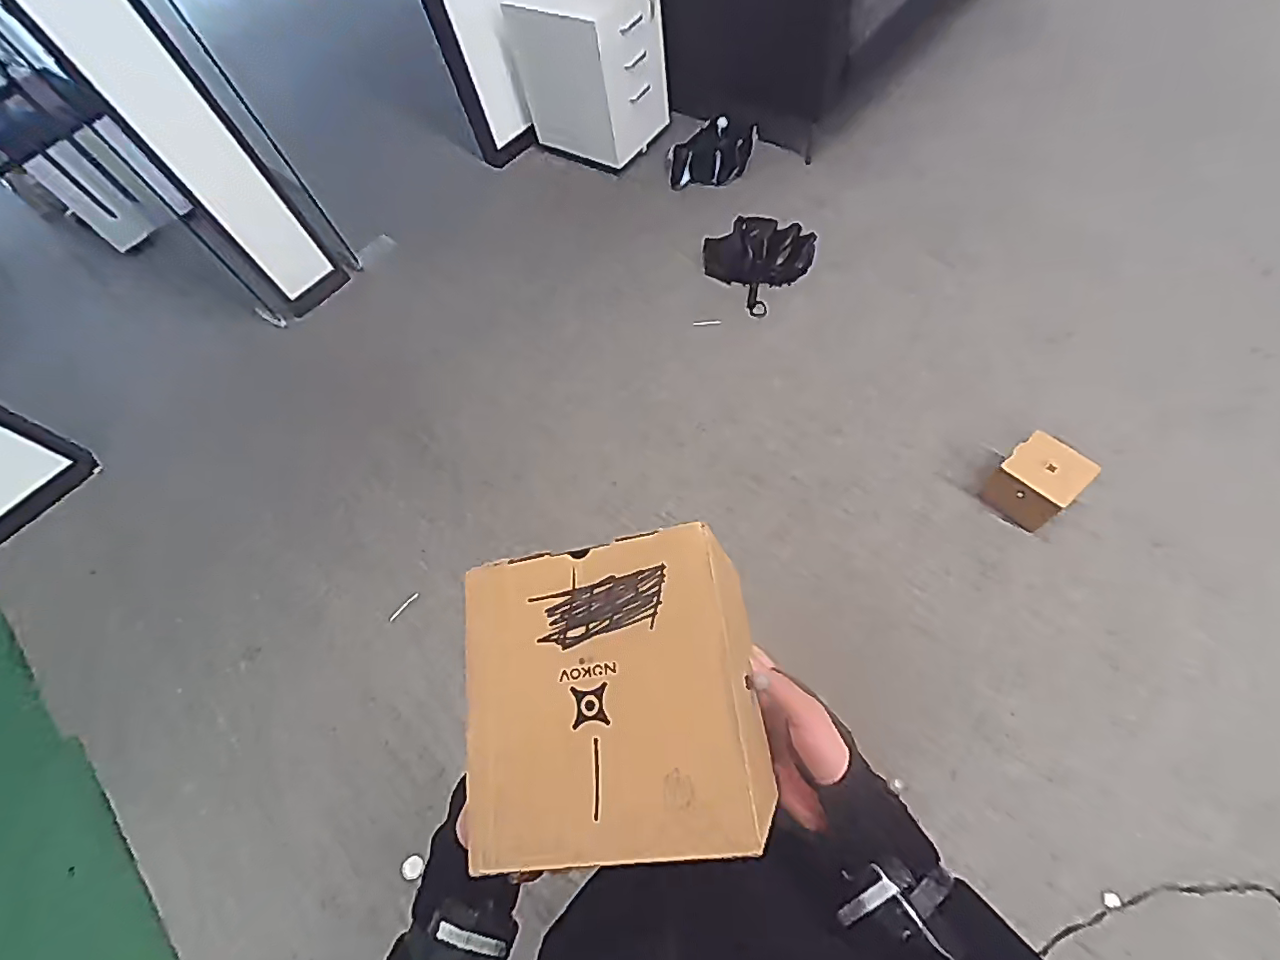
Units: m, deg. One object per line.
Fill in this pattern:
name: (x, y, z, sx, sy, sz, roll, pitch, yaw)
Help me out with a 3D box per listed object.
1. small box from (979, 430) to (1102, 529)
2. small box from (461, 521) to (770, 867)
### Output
small box: (1.068, 0.004, 1.461, 0.168, 0.176, 0.179, -40, 64, -11)
small box: (-0.008, 0.147, 0.387, 0.168, 0.176, 0.179, -13, 68, 13)
